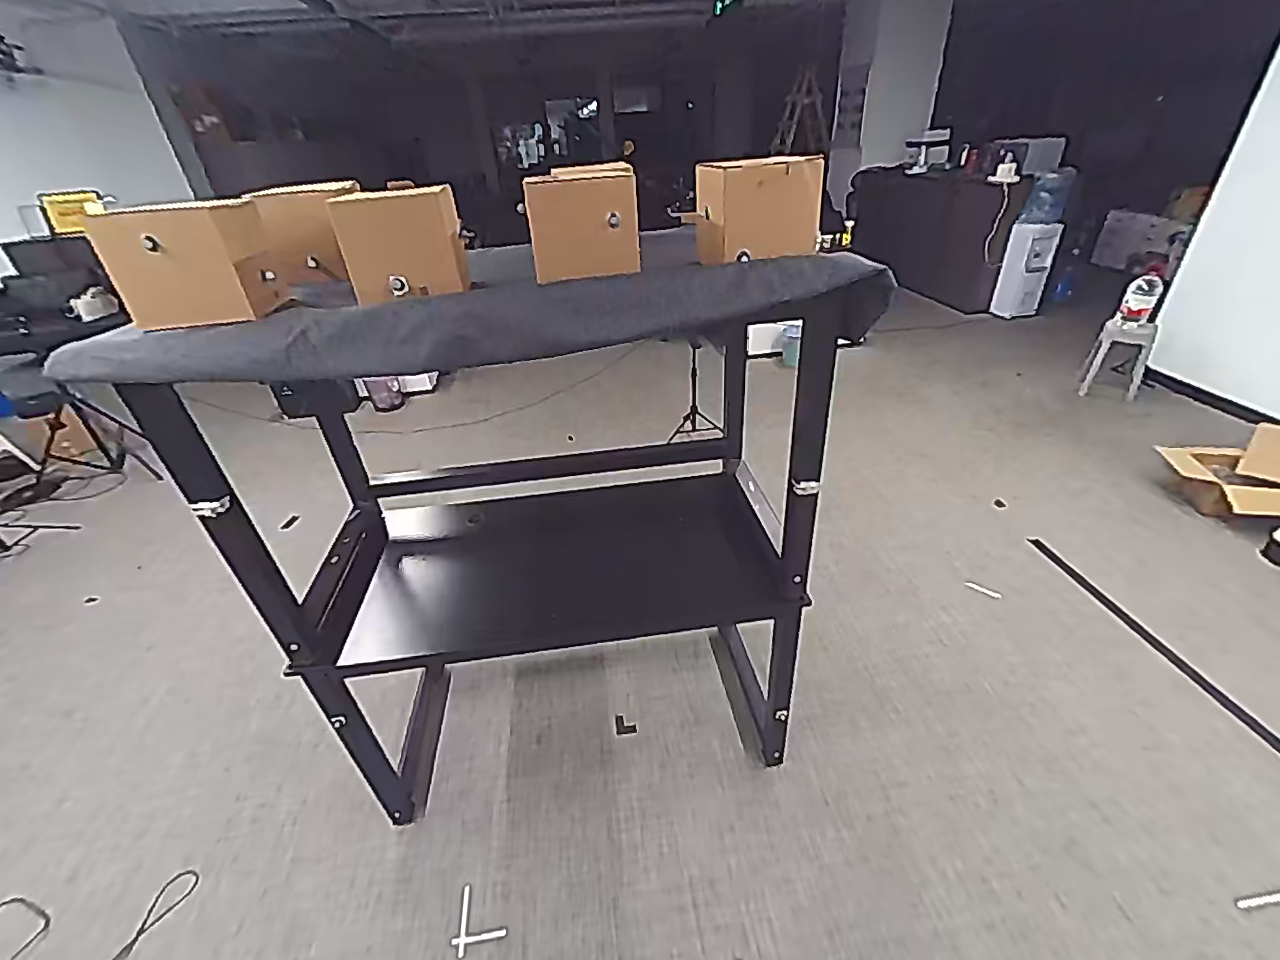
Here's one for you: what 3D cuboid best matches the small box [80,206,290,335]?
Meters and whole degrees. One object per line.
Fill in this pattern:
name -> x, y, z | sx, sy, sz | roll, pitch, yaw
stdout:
small box -> -0.720, -0.344, 0.884 | 0.179, 0.176, 0.168 | -9, 32, -8

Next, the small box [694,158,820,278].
small box -> 0.199, -0.460, 0.954 | 0.168, 0.176, 0.179 | -9, 32, -6

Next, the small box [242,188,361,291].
small box -> -0.674, -0.505, 1.134 | 0.179, 0.176, 0.168 | -7, 33, -7

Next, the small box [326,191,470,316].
small box -> -0.392, -0.385, 0.913 | 0.168, 0.176, 0.179 | -10, 32, -7

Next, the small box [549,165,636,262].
small box -> -0.104, -0.583, 1.188 | 0.168, 0.176, 0.179 | -8, 33, -5
